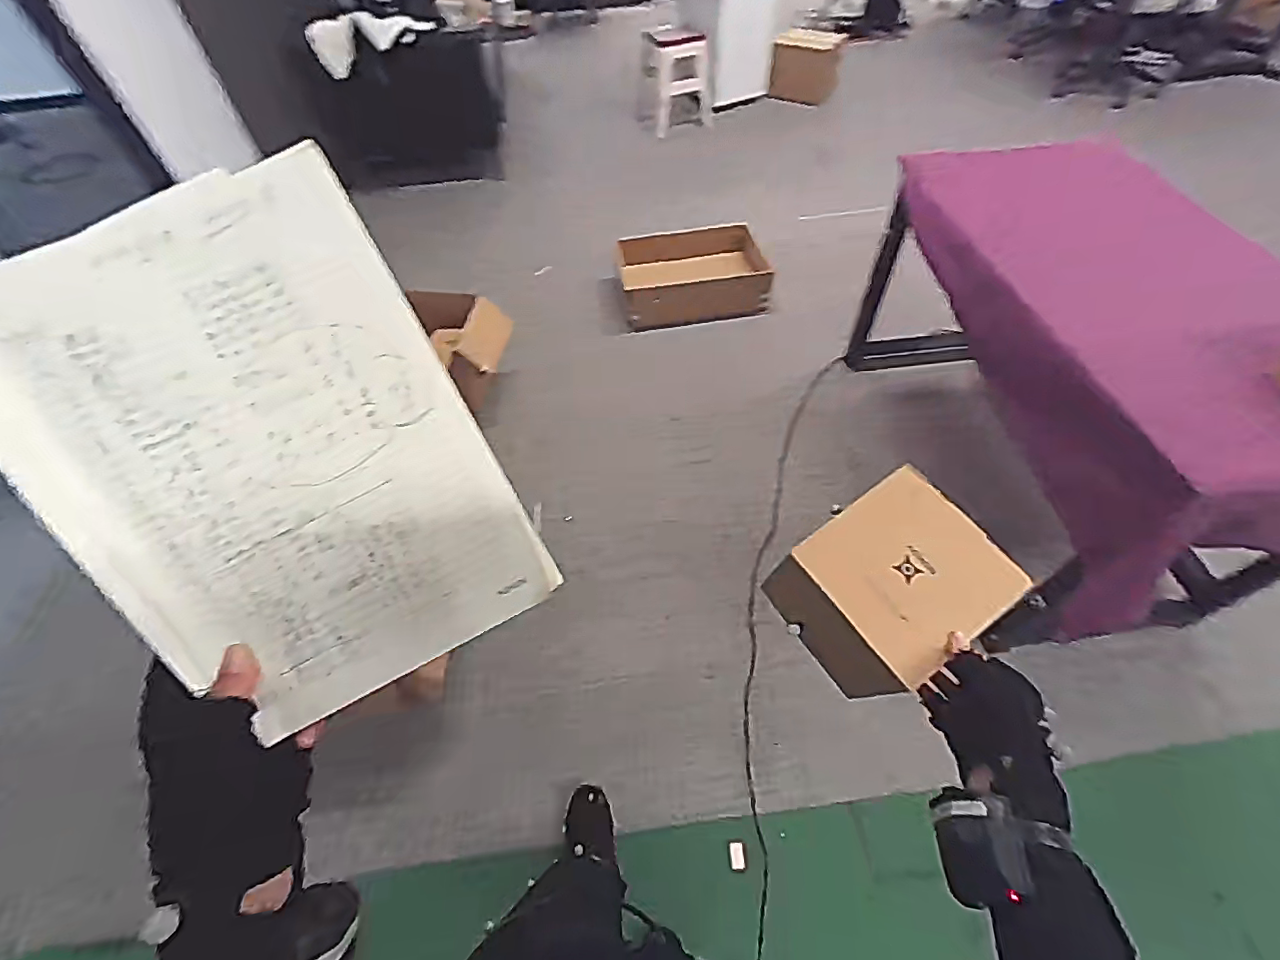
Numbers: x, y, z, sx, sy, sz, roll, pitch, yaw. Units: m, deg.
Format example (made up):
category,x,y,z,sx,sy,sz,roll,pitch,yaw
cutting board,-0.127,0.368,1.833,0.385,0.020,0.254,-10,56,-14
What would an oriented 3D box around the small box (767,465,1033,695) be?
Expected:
category,x,y,z,sx,sy,sz,roll,pitch,yaw
small box,0.269,0.118,0.606,0.179,0.176,0.168,-33,70,-13
